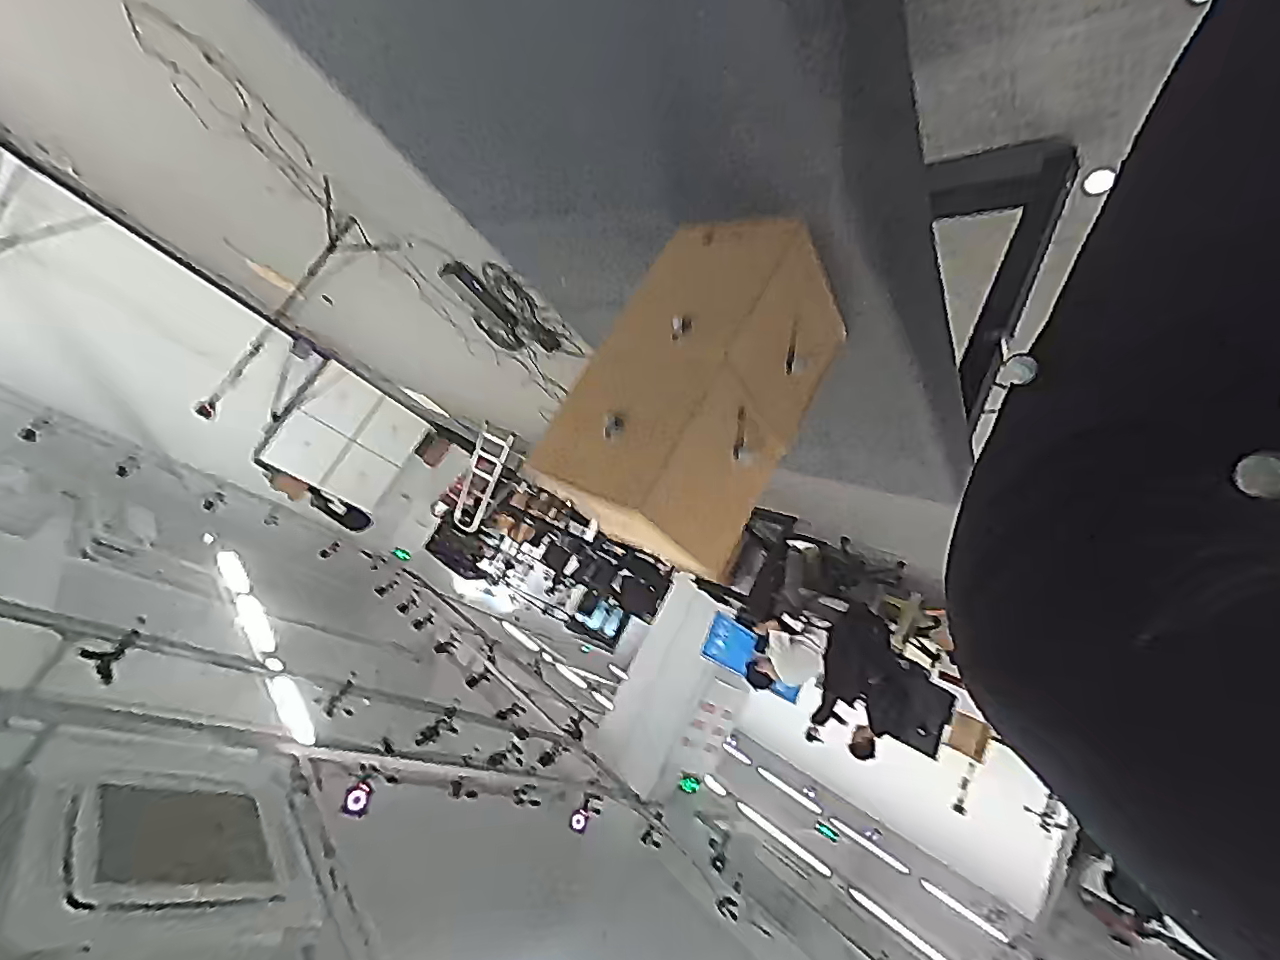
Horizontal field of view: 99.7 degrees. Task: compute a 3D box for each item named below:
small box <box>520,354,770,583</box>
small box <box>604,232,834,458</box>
[{"bbox_3d":[0.012,-0.018,0.591,0.179,0.176,0.168,19,163,41],"label":"small box"},{"bbox_3d":[0.099,-0.154,0.623,0.168,0.176,0.179,19,164,43],"label":"small box"}]
